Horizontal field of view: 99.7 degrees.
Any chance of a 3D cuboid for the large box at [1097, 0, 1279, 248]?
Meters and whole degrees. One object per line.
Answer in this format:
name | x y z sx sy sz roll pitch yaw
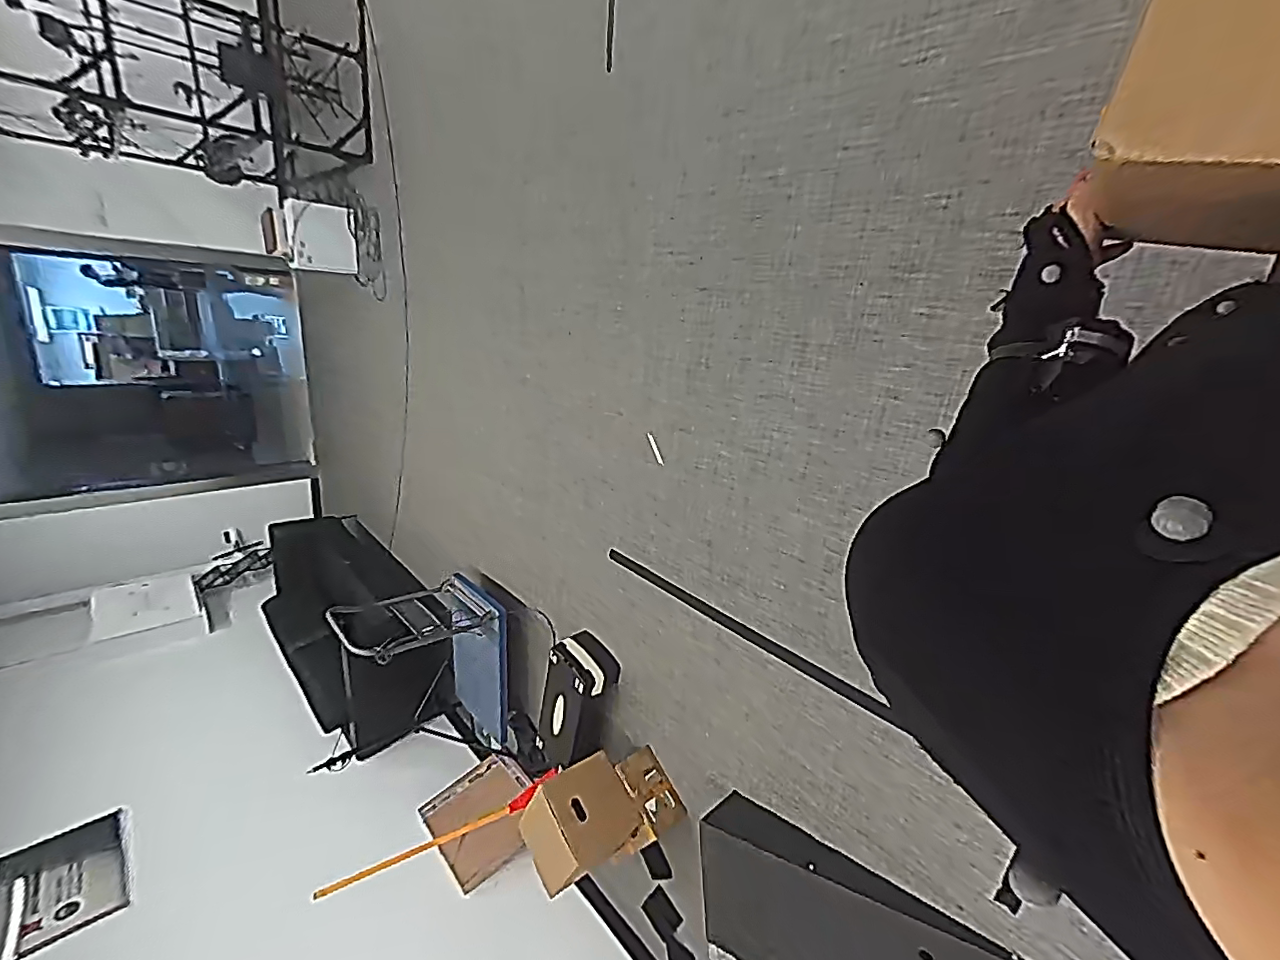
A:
large box | 0.483 -0.265 0.208 0.408 0.320 0.320 24 117 33
